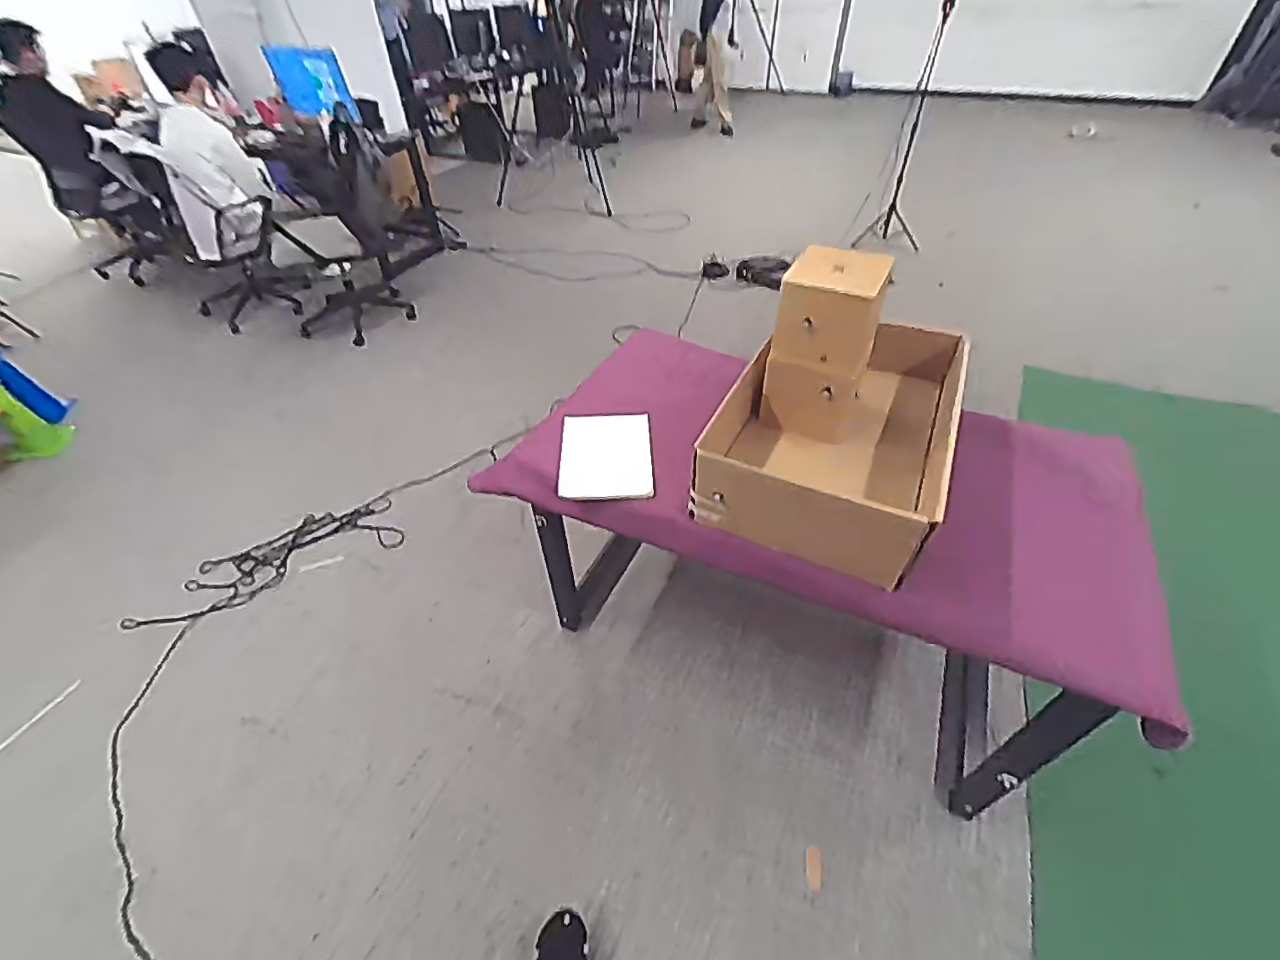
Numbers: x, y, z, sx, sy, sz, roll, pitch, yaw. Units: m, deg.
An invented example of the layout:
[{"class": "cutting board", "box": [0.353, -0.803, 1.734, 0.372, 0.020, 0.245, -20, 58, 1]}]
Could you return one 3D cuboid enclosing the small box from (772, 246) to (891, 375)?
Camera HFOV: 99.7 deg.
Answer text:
[{"class": "small box", "box": [0.364, -0.326, 1.045, 0.168, 0.176, 0.179, 20, 49, 22]}]
